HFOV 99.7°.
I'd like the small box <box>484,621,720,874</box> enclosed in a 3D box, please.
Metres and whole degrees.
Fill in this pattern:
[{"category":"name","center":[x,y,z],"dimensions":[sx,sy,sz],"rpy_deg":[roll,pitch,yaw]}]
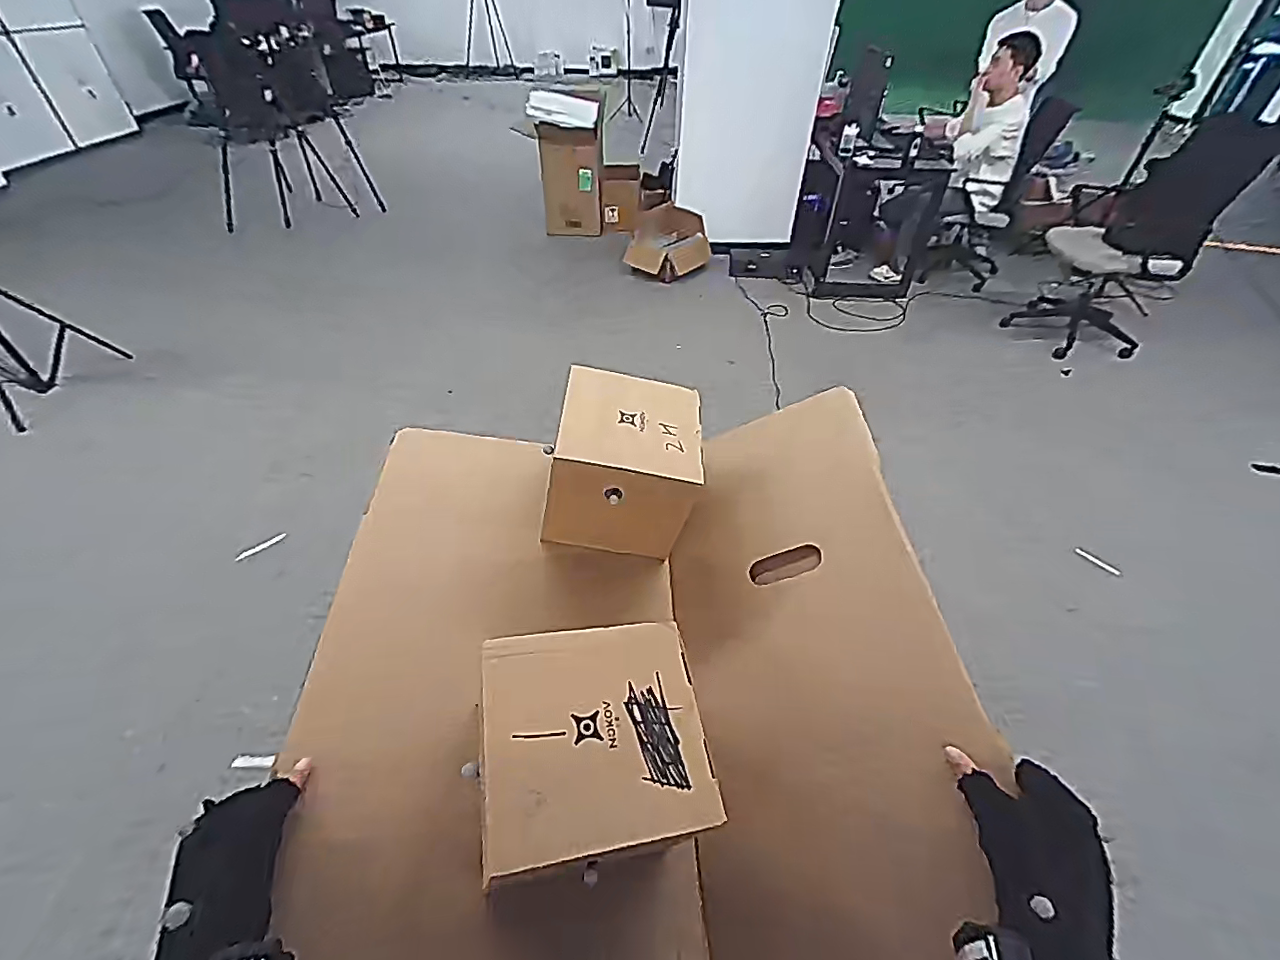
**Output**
[{"category":"small box","center":[-0.052,0.246,0.501],"dimensions":[0.179,0.176,0.168],"rpy_deg":[0,51,-17]}]

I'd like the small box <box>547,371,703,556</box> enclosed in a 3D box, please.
[{"category":"small box","center":[-0.023,-0.016,0.731],"dimensions":[0.179,0.176,0.168],"rpy_deg":[12,49,-8]}]
